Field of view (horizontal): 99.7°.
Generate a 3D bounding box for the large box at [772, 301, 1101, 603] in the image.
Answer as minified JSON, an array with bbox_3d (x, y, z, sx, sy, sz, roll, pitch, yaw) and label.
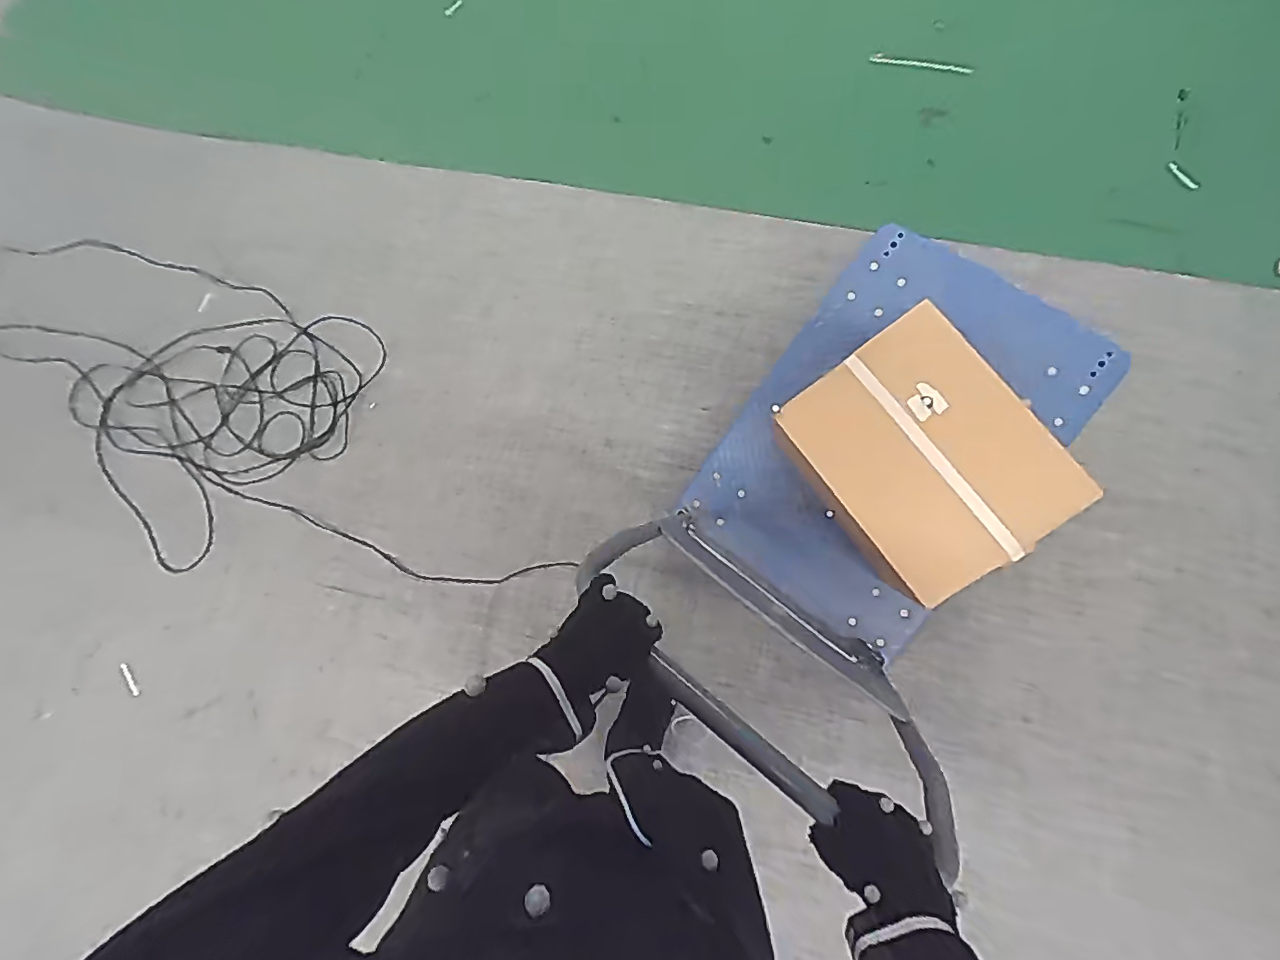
[{"bbox_3d":[0.499,-0.040,1.013,0.320,0.320,0.408,-38,78,9],"label":"large box"}]
